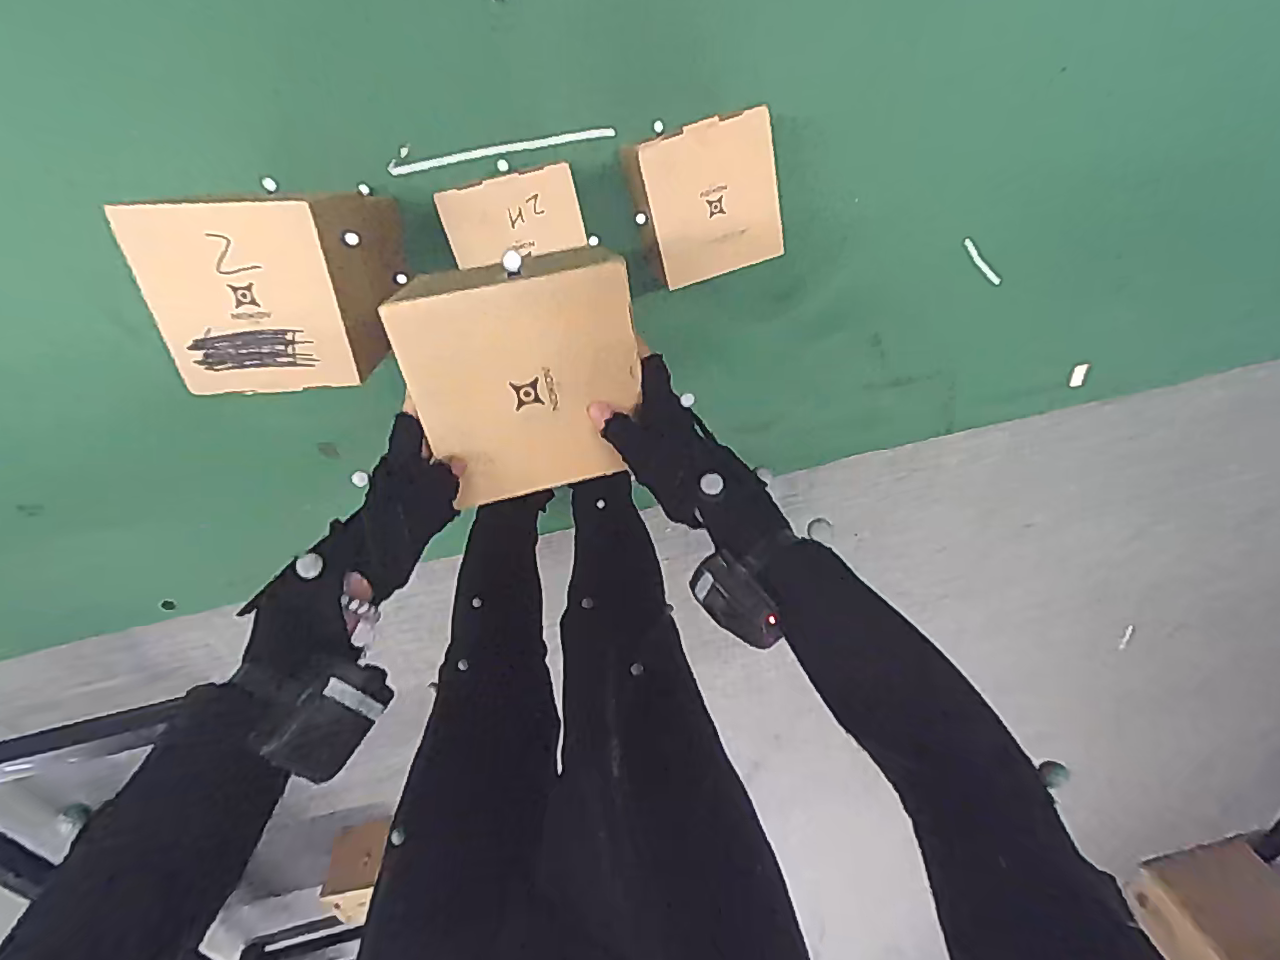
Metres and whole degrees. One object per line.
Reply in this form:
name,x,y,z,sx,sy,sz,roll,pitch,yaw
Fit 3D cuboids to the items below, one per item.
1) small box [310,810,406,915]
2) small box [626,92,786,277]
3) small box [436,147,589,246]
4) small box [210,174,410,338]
small box,-0.749,1.028,1.464,0.179,0.176,0.168,-9,123,-6
small box,0.086,-0.403,0.744,0.168,0.176,0.179,-16,123,0
small box,-0.154,-0.339,0.736,0.168,0.176,0.179,-14,122,-2
small box,-0.408,-0.298,0.712,0.168,0.176,0.179,-3,123,-9
